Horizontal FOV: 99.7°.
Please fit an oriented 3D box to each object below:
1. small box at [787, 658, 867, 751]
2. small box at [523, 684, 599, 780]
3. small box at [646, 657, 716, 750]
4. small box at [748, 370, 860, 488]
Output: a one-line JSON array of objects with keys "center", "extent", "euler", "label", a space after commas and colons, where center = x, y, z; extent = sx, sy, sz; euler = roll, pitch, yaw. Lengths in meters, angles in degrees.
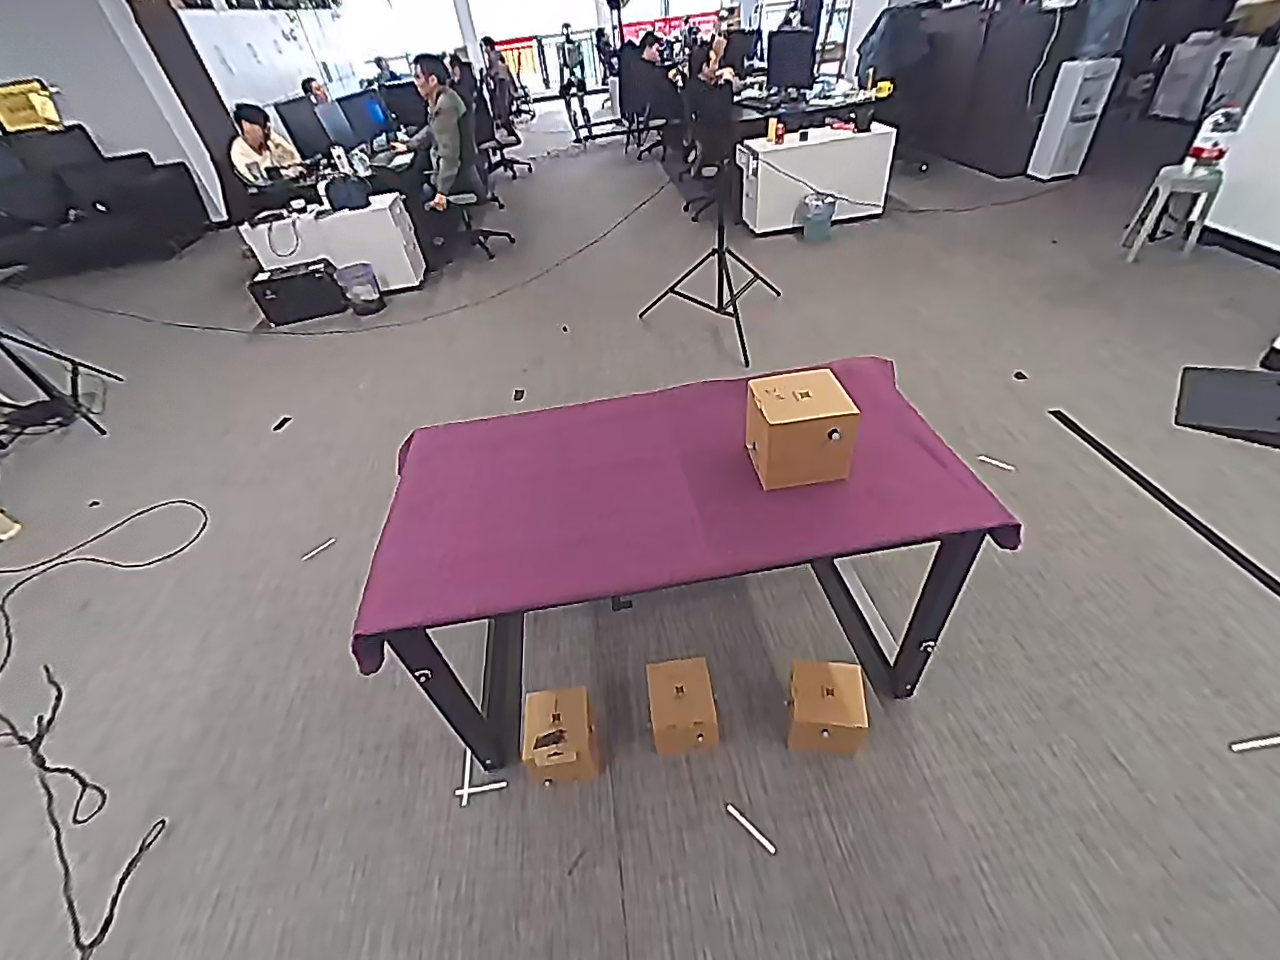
[{"center": [0.482, 0.592, 1.418], "extent": [0.179, 0.176, 0.168], "euler": [1, 43, 12], "label": "small box"}, {"center": [-0.205, 0.673, 1.434], "extent": [0.168, 0.176, 0.179], "euler": [-9, 41, -1], "label": "small box"}, {"center": [0.111, 0.608, 1.460], "extent": [0.168, 0.176, 0.179], "euler": [-8, 41, -1], "label": "small box"}, {"center": [0.327, -0.104, 1.118], "extent": [0.179, 0.176, 0.168], "euler": [-9, 41, 0], "label": "small box"}]
